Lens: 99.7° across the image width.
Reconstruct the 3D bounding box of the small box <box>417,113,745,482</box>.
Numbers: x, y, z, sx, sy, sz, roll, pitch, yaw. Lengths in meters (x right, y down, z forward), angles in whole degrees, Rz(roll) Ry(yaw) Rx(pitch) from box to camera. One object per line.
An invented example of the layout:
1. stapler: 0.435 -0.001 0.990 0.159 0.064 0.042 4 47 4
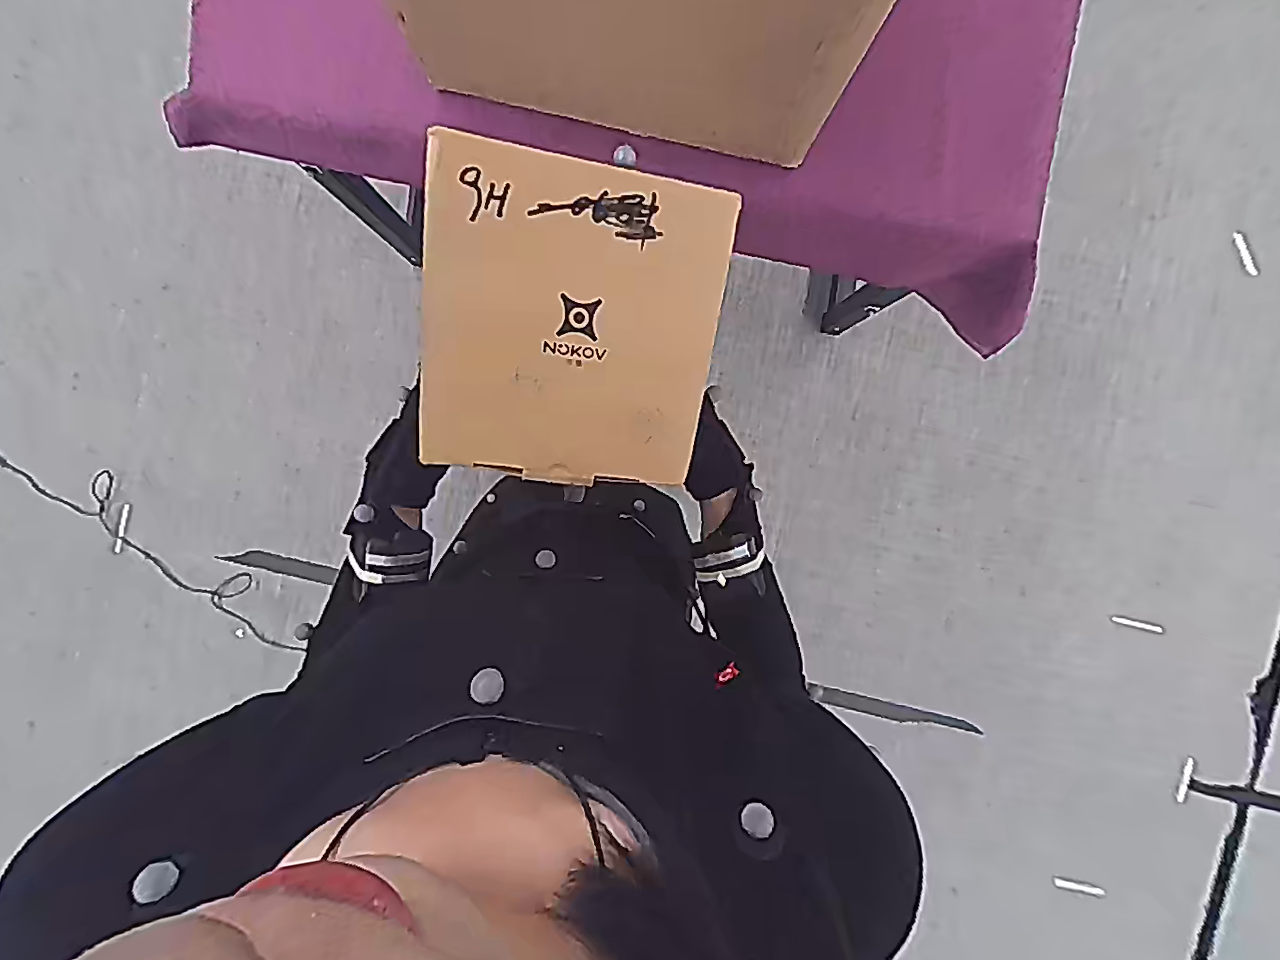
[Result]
1. small box: -0.049 -0.114 0.373 0.168 0.176 0.179 5 110 -13
